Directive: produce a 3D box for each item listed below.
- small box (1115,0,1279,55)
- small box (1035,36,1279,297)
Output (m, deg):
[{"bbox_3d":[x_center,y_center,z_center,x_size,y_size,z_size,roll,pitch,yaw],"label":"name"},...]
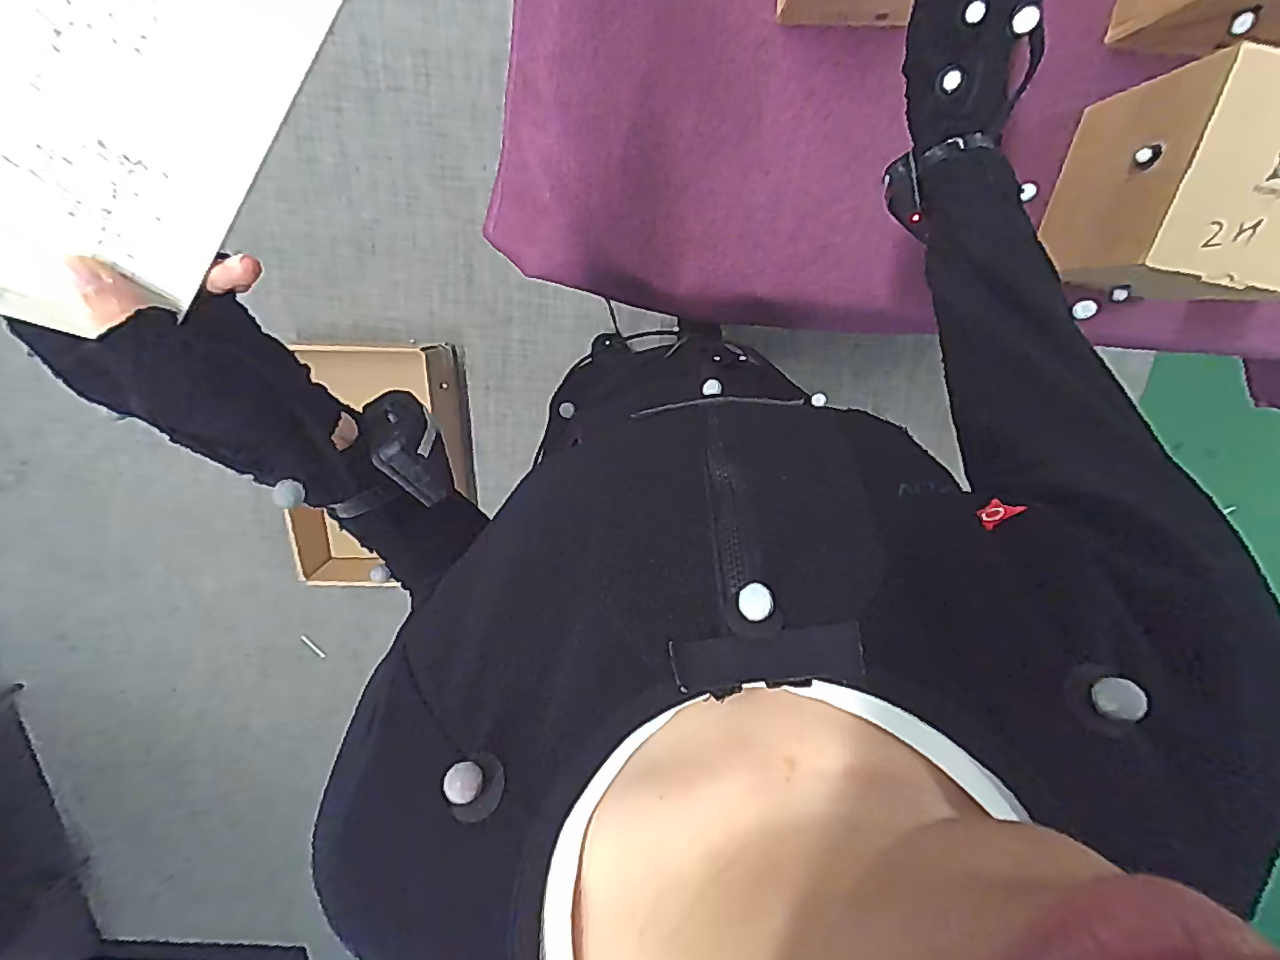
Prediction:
[{"bbox_3d":[0.575,-0.503,0.469,0.168,0.176,0.179,4,109,-1],"label":"small box"},{"bbox_3d":[0.550,-0.288,0.541,0.168,0.176,0.179,10,109,-3],"label":"small box"}]
